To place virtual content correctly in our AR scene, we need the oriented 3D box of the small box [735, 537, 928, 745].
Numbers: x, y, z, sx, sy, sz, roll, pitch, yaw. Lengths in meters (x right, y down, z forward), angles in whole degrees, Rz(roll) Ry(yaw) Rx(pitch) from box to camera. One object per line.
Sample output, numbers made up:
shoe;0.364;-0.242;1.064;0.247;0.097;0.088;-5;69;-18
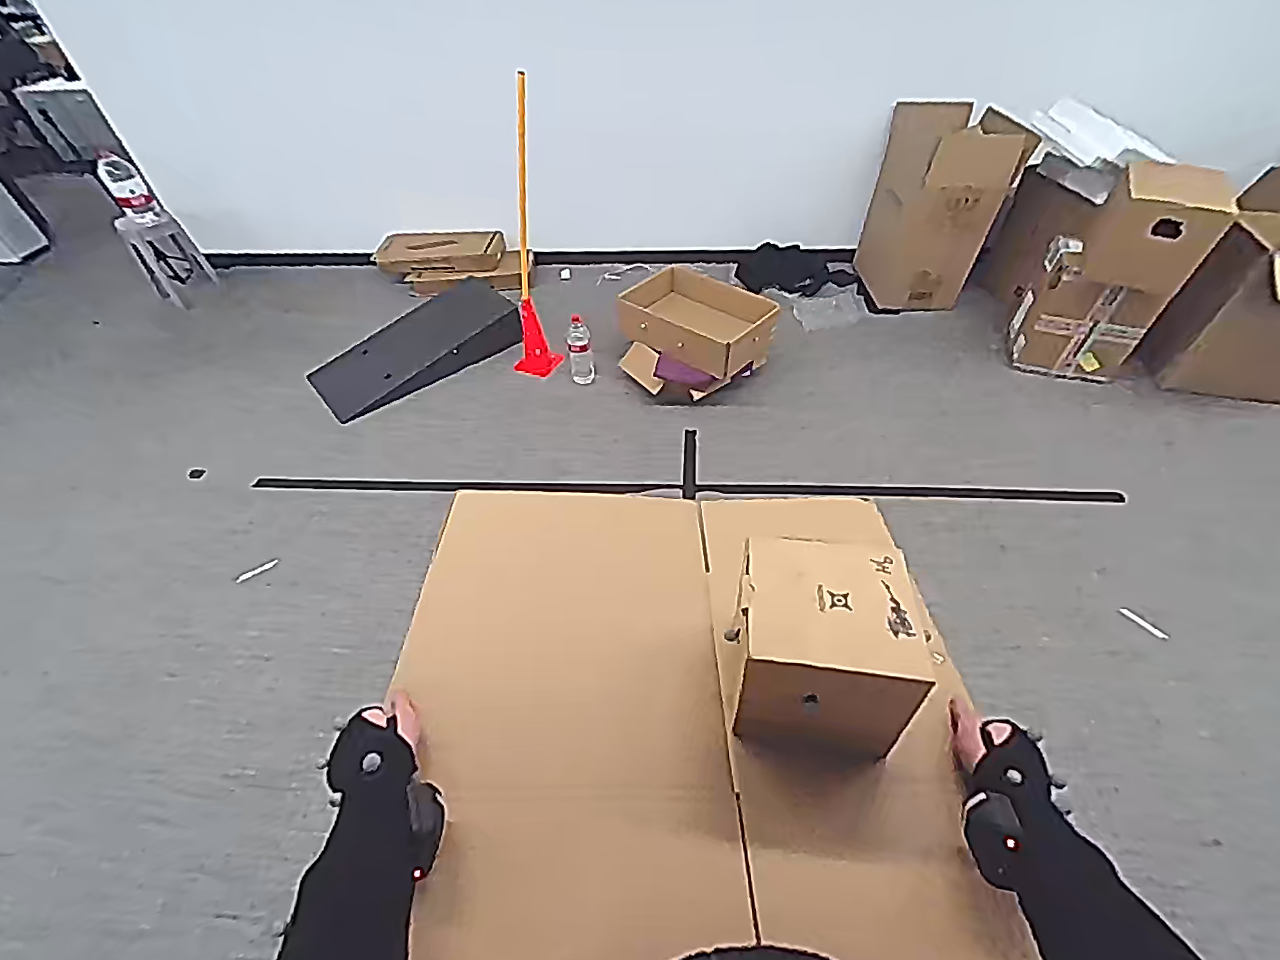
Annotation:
small box;0.205;0.187;0.631;0.179;0.176;0.168;4;43;8
